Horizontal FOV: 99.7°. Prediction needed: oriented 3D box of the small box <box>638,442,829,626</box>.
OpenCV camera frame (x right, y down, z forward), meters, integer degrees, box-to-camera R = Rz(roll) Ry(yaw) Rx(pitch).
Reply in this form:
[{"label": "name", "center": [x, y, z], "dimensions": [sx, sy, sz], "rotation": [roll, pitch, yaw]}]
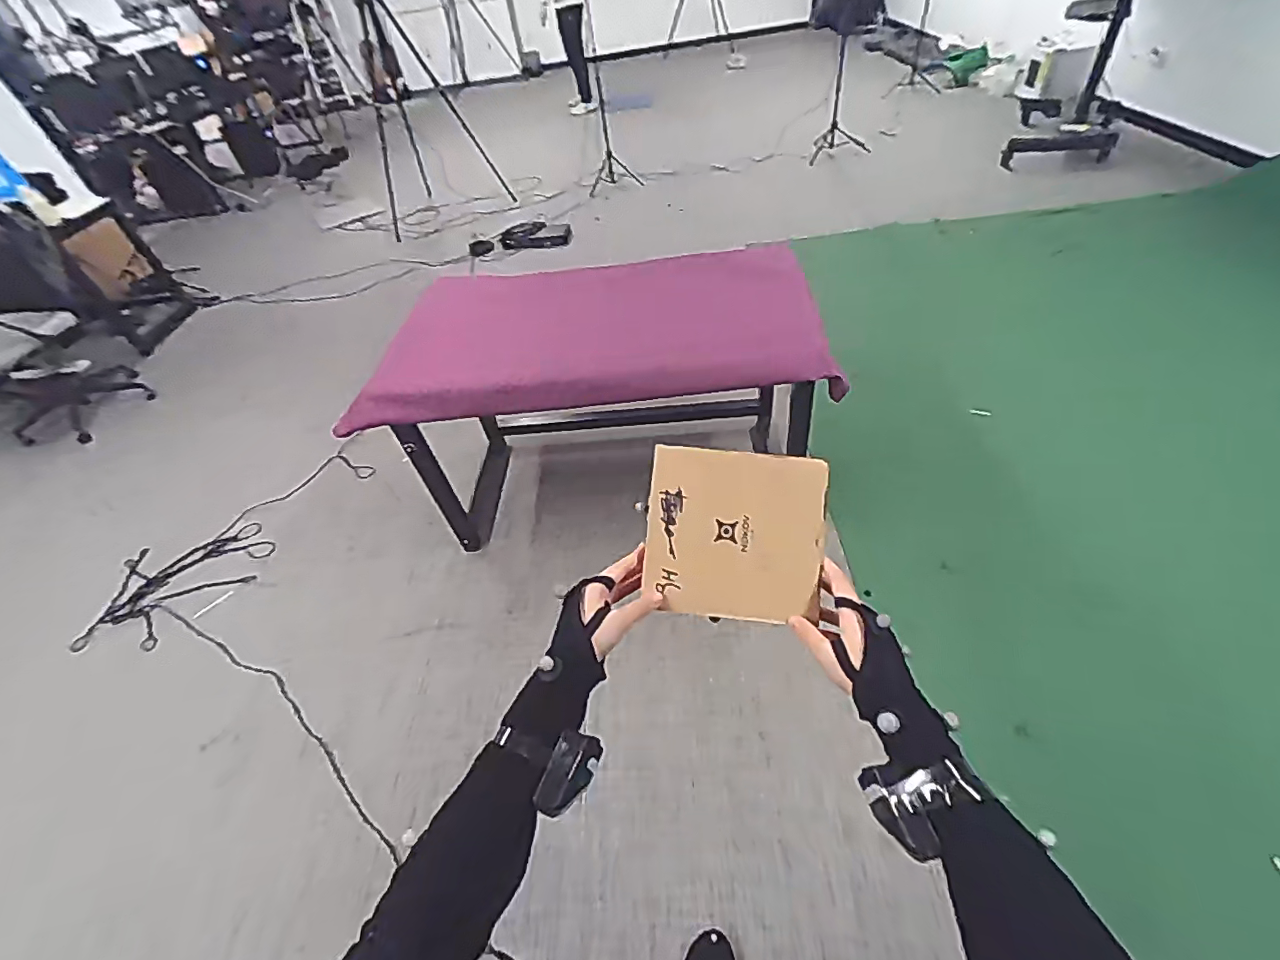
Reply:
[{"label": "small box", "center": [0.095, 0.063, 0.610], "dimensions": [0.179, 0.176, 0.168], "rotation": [6, 81, 3]}]
